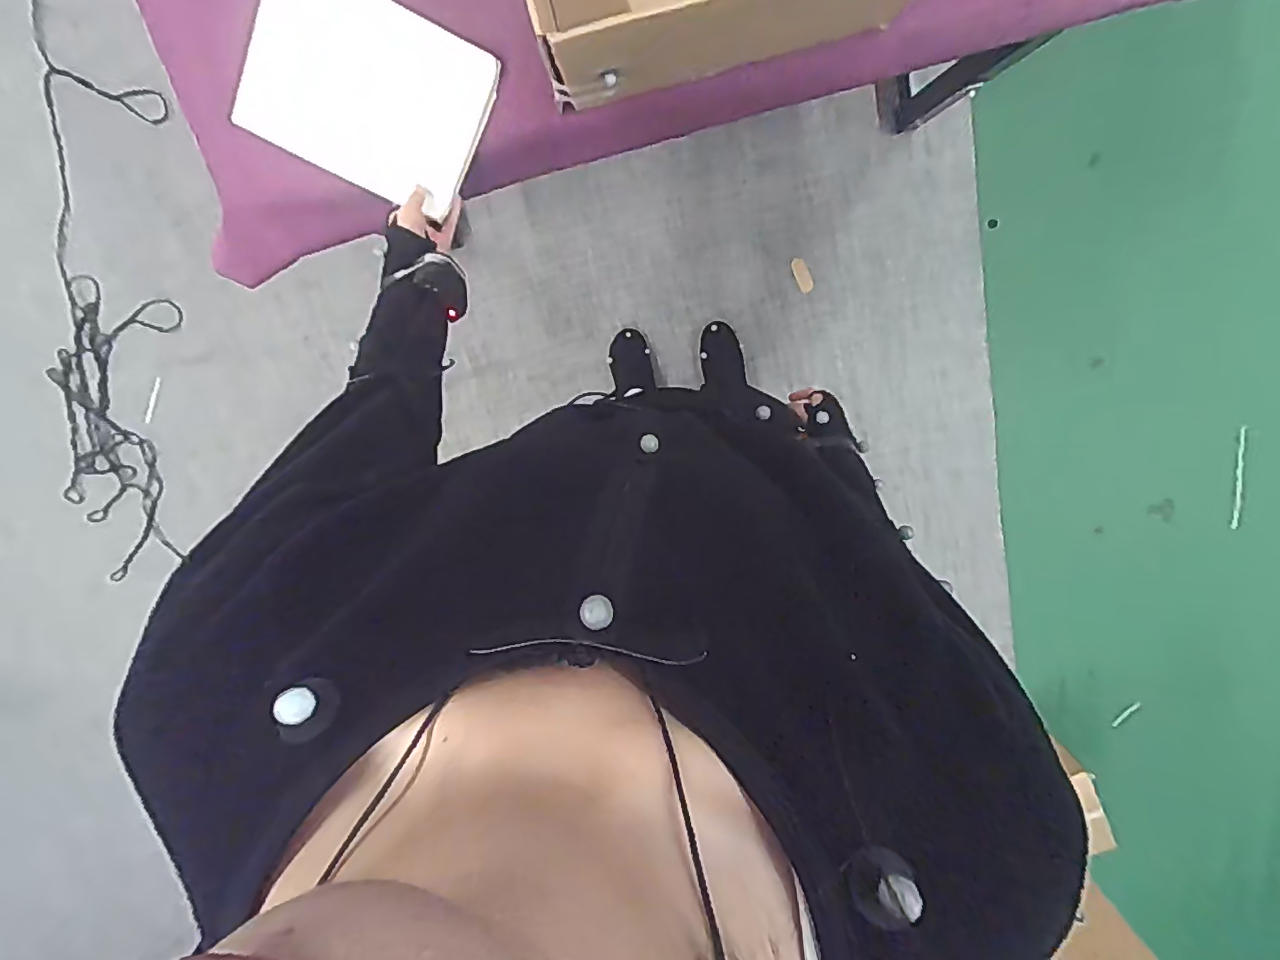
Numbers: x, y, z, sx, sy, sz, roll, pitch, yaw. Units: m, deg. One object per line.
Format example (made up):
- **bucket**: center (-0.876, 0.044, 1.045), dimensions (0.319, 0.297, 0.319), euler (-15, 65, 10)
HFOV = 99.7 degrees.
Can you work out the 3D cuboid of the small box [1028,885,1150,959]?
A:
- **small box**: center (1.058, 1.110, 1.269), dimensions (0.179, 0.176, 0.168), euler (-29, 104, 8)
